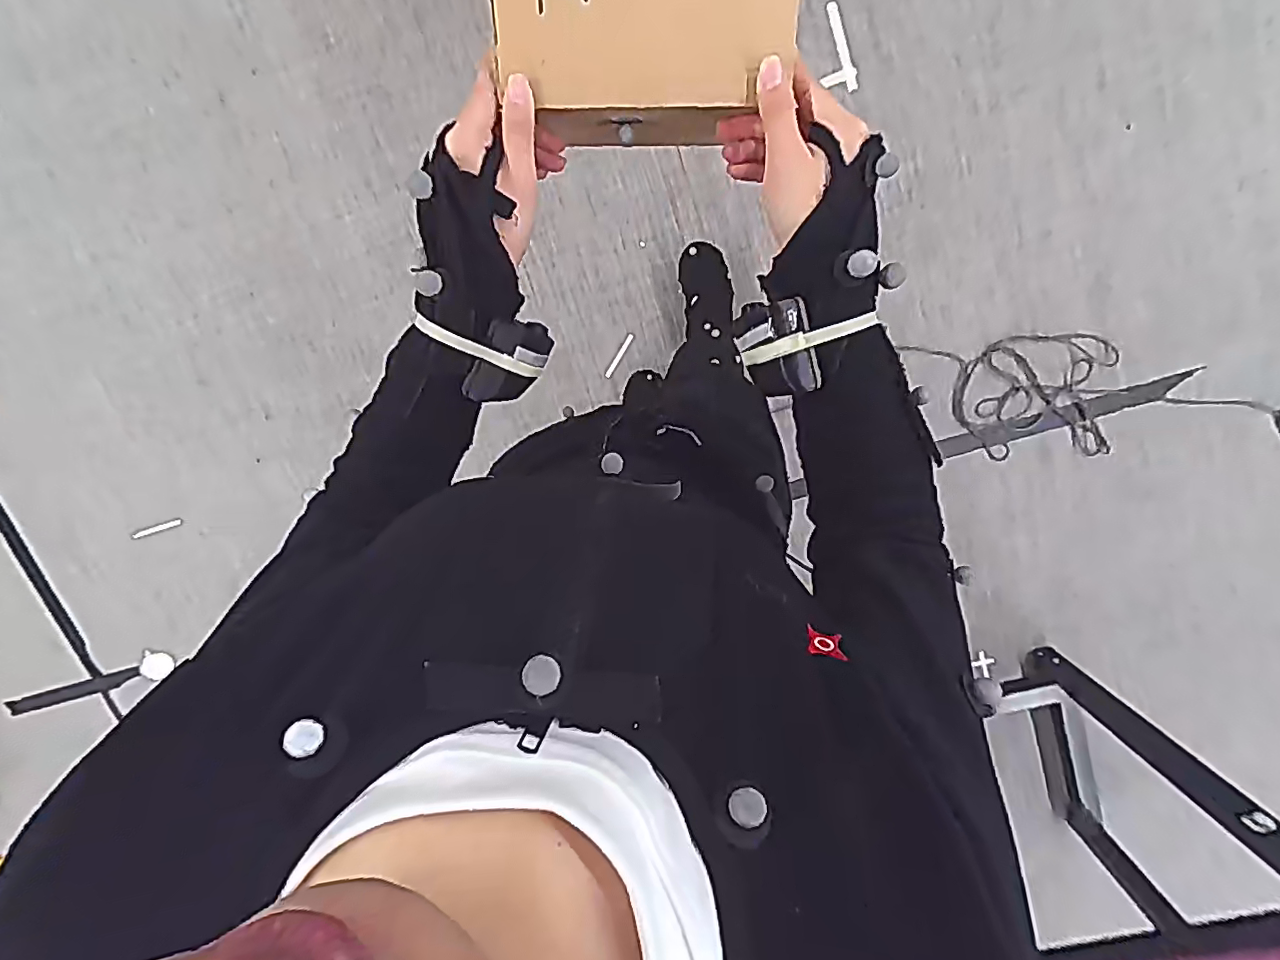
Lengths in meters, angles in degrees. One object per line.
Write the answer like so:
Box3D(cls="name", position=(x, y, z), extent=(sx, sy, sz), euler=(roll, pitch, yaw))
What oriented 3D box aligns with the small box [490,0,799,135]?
Box3D(cls="small box", position=(0.003, -0.337, 0.358), extent=(0.179, 0.176, 0.168), euler=(0, 115, 0))
